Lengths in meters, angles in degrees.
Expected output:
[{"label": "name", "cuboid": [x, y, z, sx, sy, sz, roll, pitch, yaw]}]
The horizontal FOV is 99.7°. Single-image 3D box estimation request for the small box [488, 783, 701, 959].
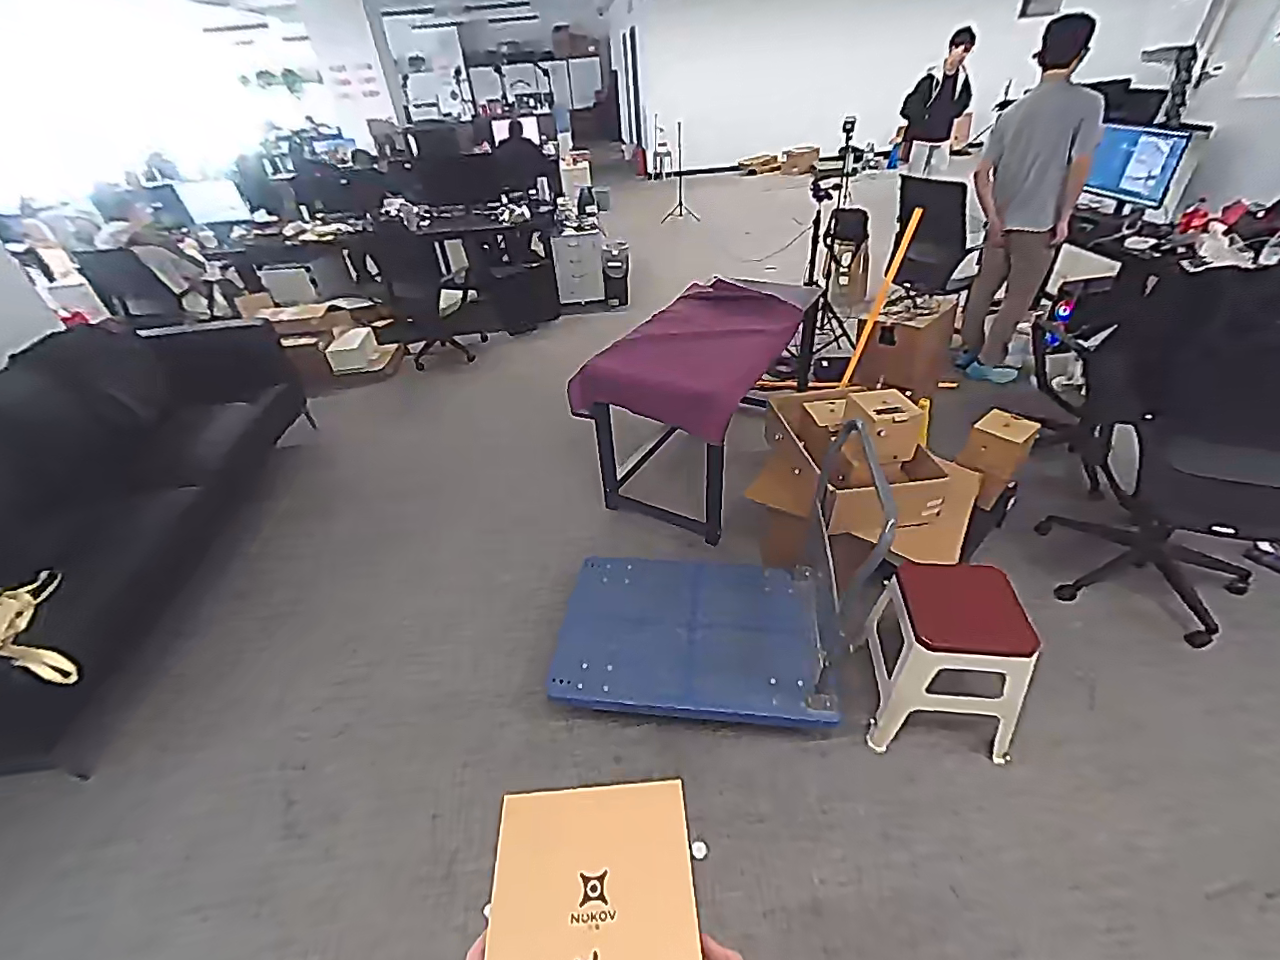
[{"label": "small box", "cuboid": [-0.033, 0.406, 0.490, 0.168, 0.176, 0.179, -4, 39, 0]}]
